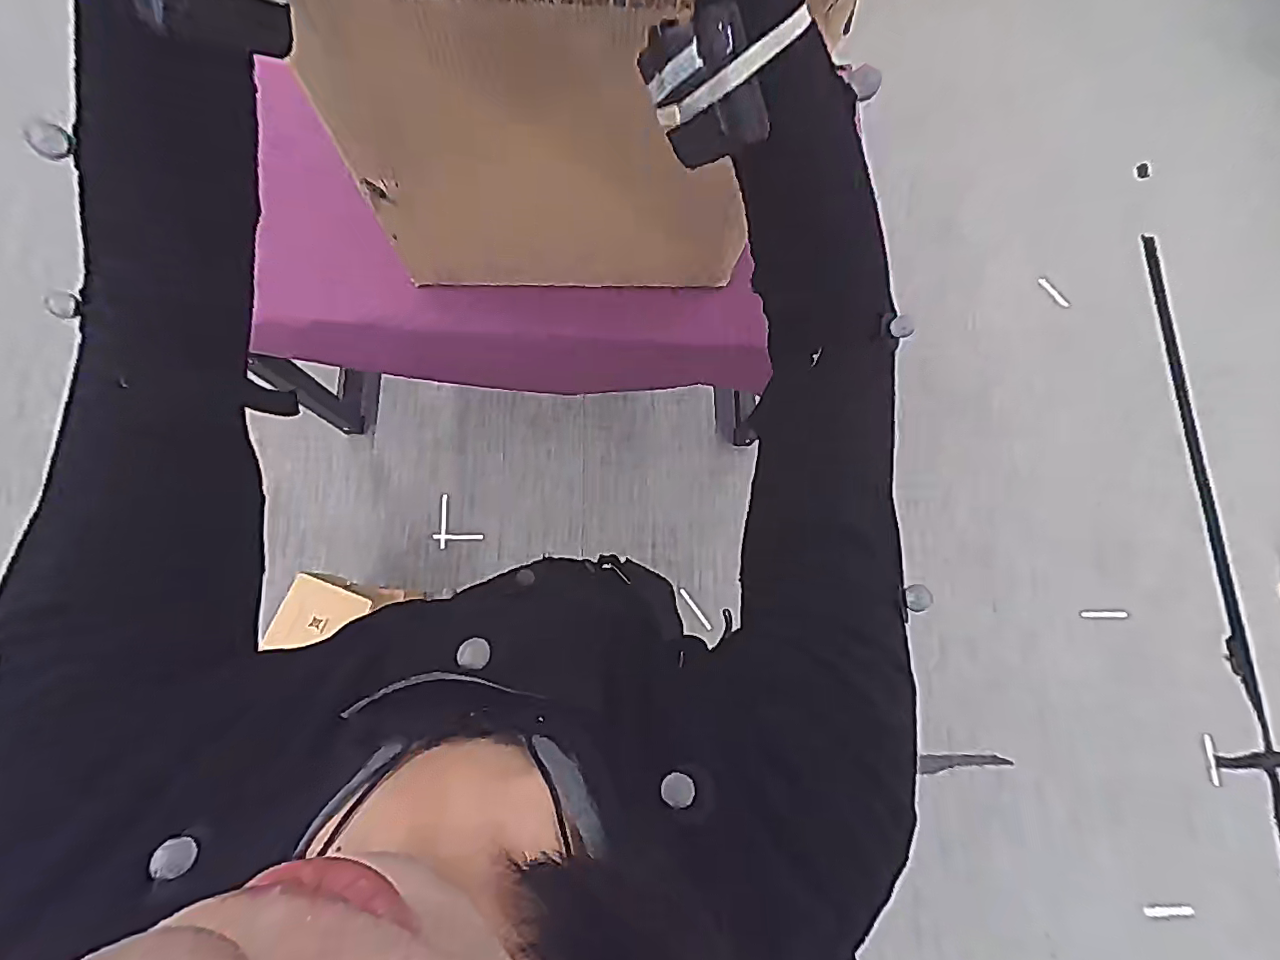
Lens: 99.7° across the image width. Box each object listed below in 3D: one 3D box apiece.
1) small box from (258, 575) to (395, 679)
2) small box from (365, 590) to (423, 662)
[{"bbox_3d":[-0.682,0.321,1.203,0.179,0.176,0.168,22,76,0],"label":"small box"},{"bbox_3d":[-0.668,0.362,1.362,0.179,0.176,0.168,3,78,-5],"label":"small box"}]
